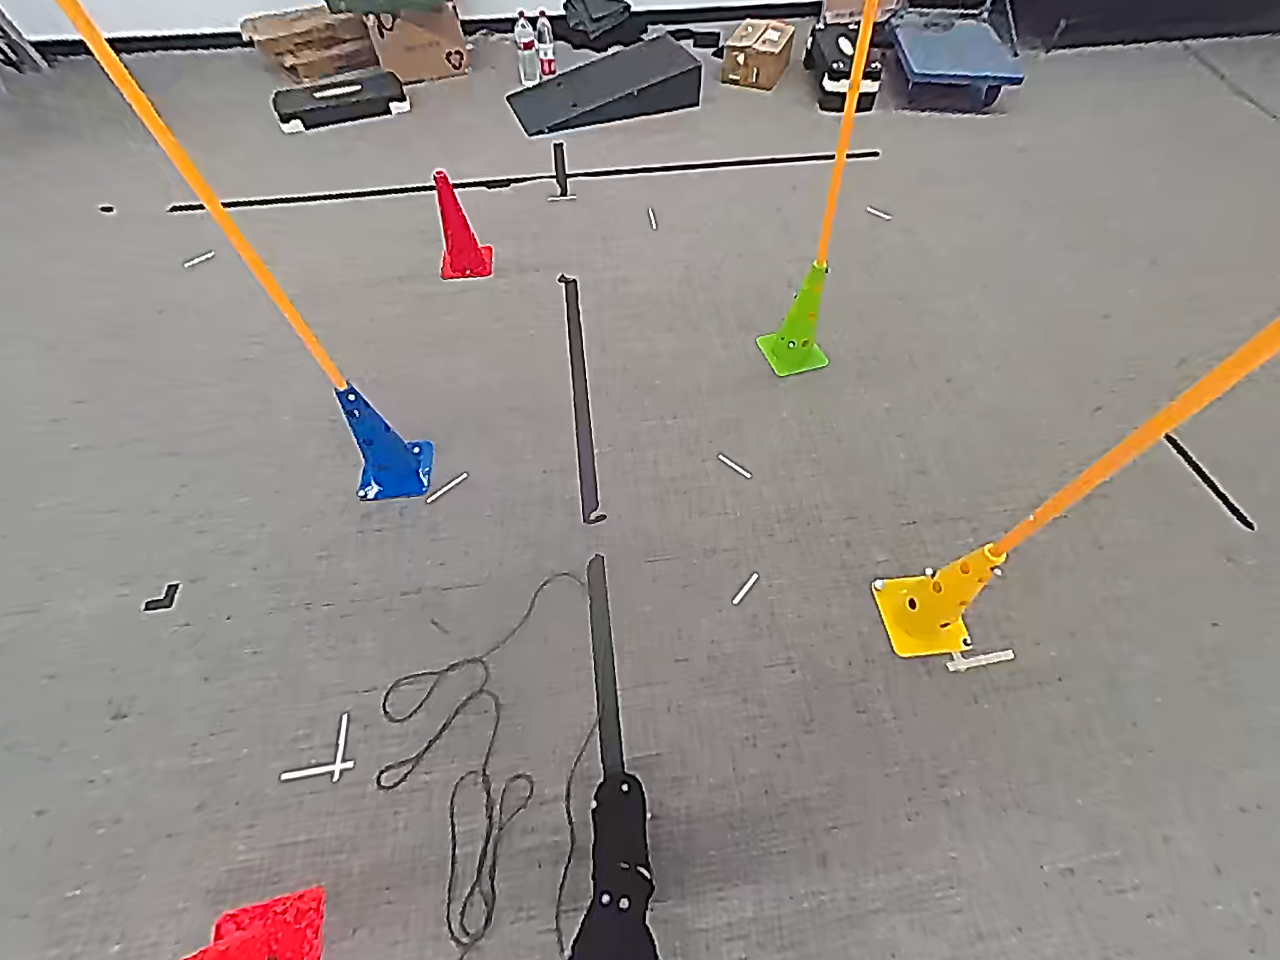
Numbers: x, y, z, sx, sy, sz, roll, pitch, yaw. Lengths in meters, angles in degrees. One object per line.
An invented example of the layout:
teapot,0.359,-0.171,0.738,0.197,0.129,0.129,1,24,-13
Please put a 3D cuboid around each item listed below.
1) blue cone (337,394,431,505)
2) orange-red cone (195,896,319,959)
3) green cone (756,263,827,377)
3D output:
blue cone,-0.729,-0.104,1.486,0.193,0.380,0.192,-4,56,-3
orange-red cone,-0.693,0.803,0.847,0.199,0.360,0.198,-10,57,-8
green cone,0.532,-0.545,1.767,0.200,0.368,0.202,-16,59,-10
